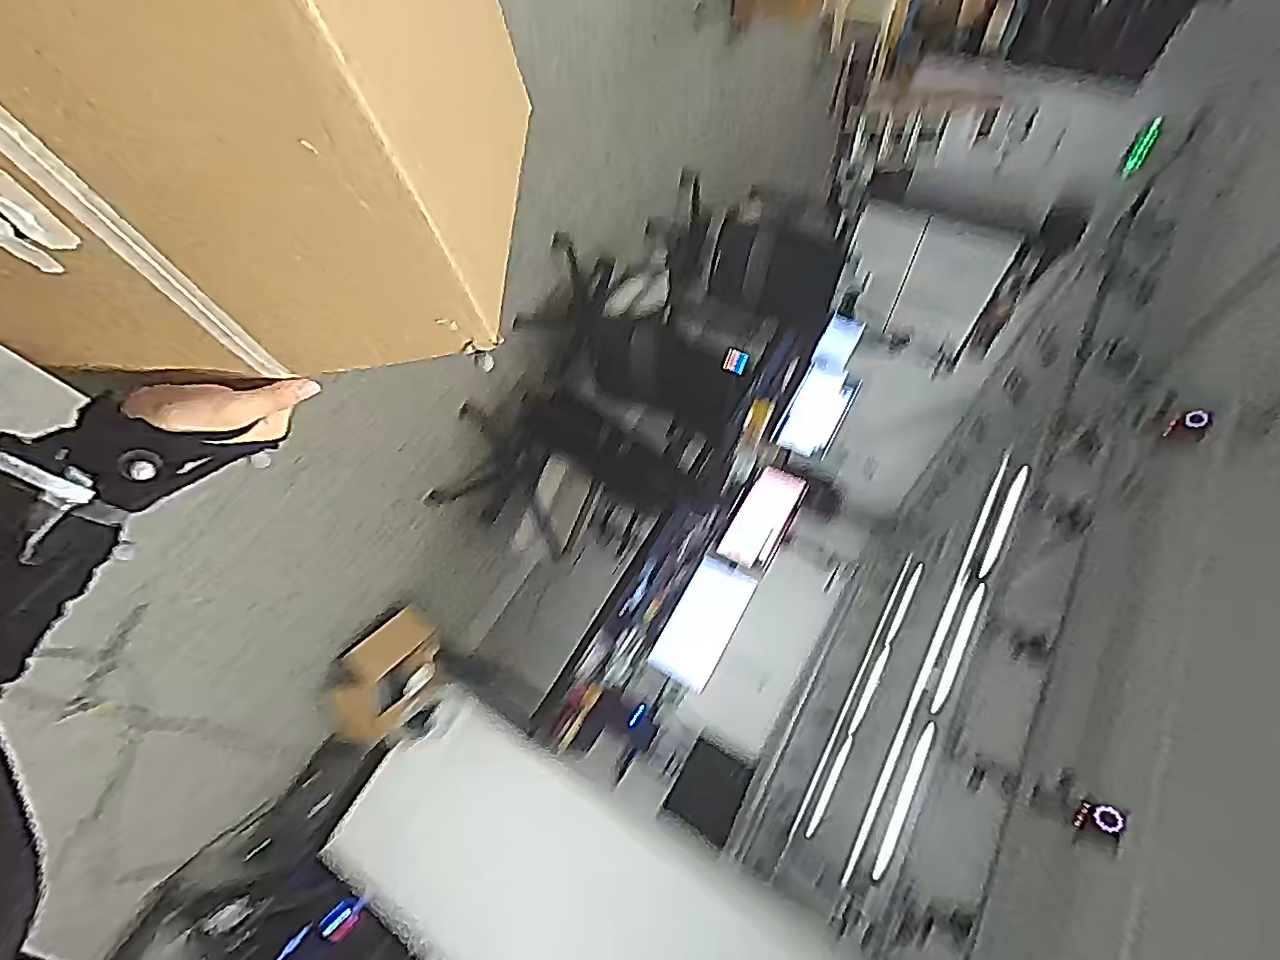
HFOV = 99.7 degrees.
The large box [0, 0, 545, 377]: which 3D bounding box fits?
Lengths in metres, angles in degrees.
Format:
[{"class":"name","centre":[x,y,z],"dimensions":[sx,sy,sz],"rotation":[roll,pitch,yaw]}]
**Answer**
[{"class":"large box","centre":[-0.263,-0.315,0.277],"dimensions":[0.408,0.320,0.320],"rotation":[69,18,-60]}]
